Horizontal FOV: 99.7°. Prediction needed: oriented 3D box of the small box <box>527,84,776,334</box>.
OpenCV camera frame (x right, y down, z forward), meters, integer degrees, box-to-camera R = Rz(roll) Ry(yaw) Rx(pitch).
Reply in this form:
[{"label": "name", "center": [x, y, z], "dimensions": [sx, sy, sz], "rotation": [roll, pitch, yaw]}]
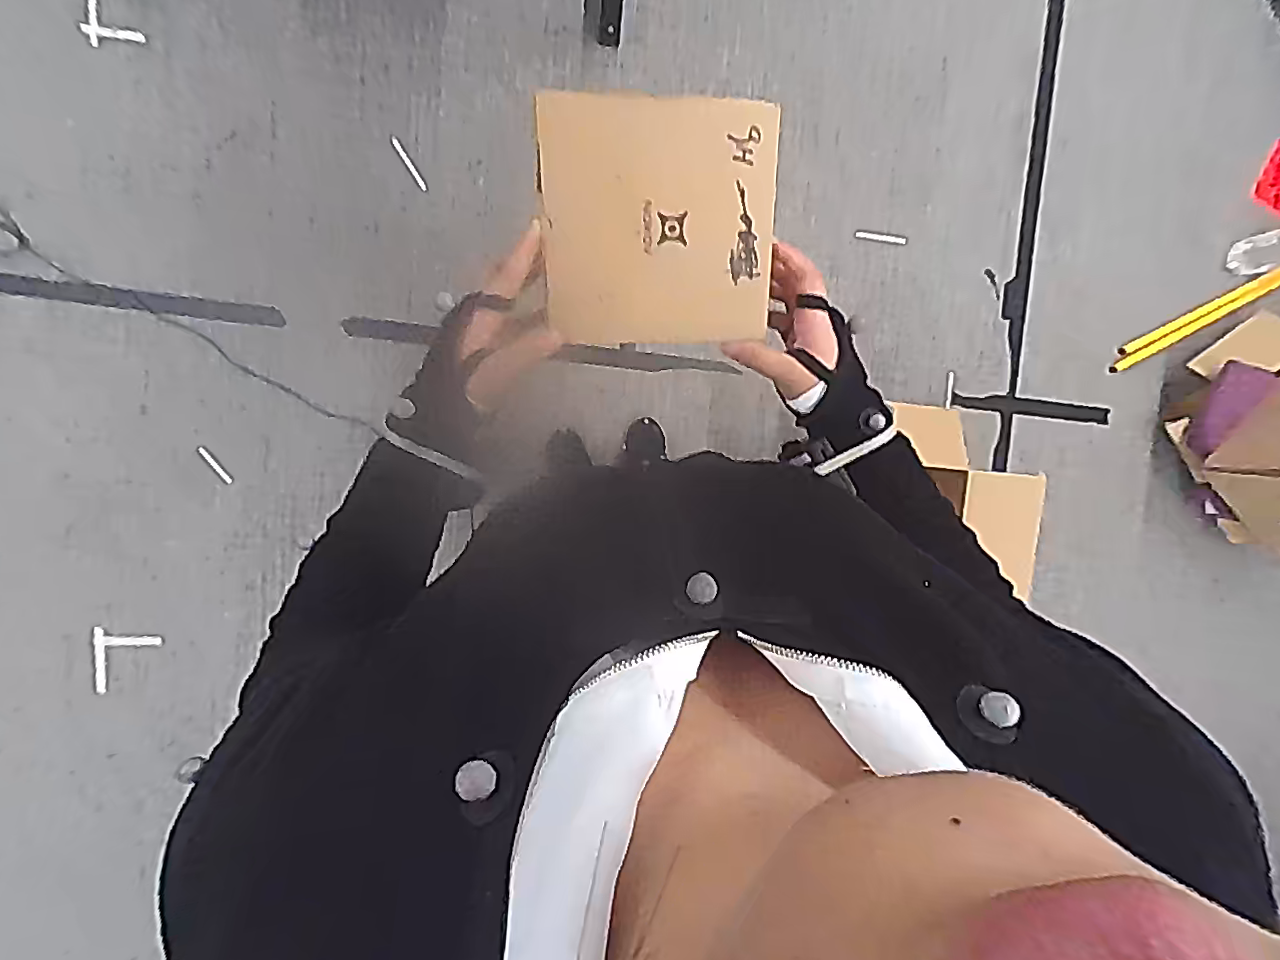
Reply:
[{"label": "small box", "center": [0.000, -0.215, 0.471], "dimensions": [0.179, 0.176, 0.168], "rotation": [-3, 108, -8]}]
